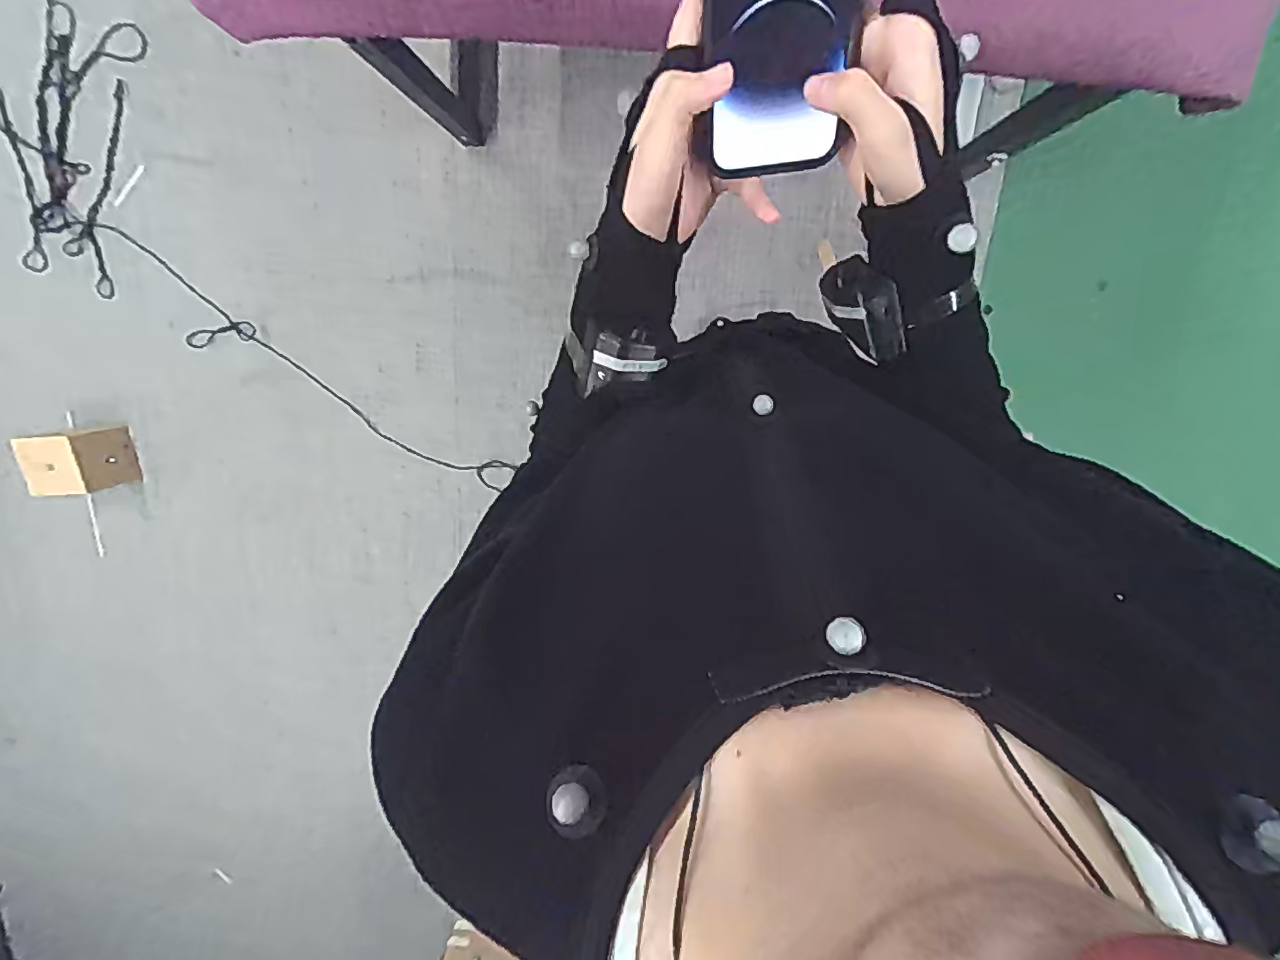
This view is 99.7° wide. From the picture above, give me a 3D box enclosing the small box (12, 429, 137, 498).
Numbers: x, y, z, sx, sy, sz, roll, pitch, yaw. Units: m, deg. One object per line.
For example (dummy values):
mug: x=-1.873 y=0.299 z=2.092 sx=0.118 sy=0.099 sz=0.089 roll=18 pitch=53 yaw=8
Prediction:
small box: x=-1.605 y=-0.050 z=1.553 sx=0.179 sy=0.176 sz=0.168 roll=-1 pitch=105 yaw=5
